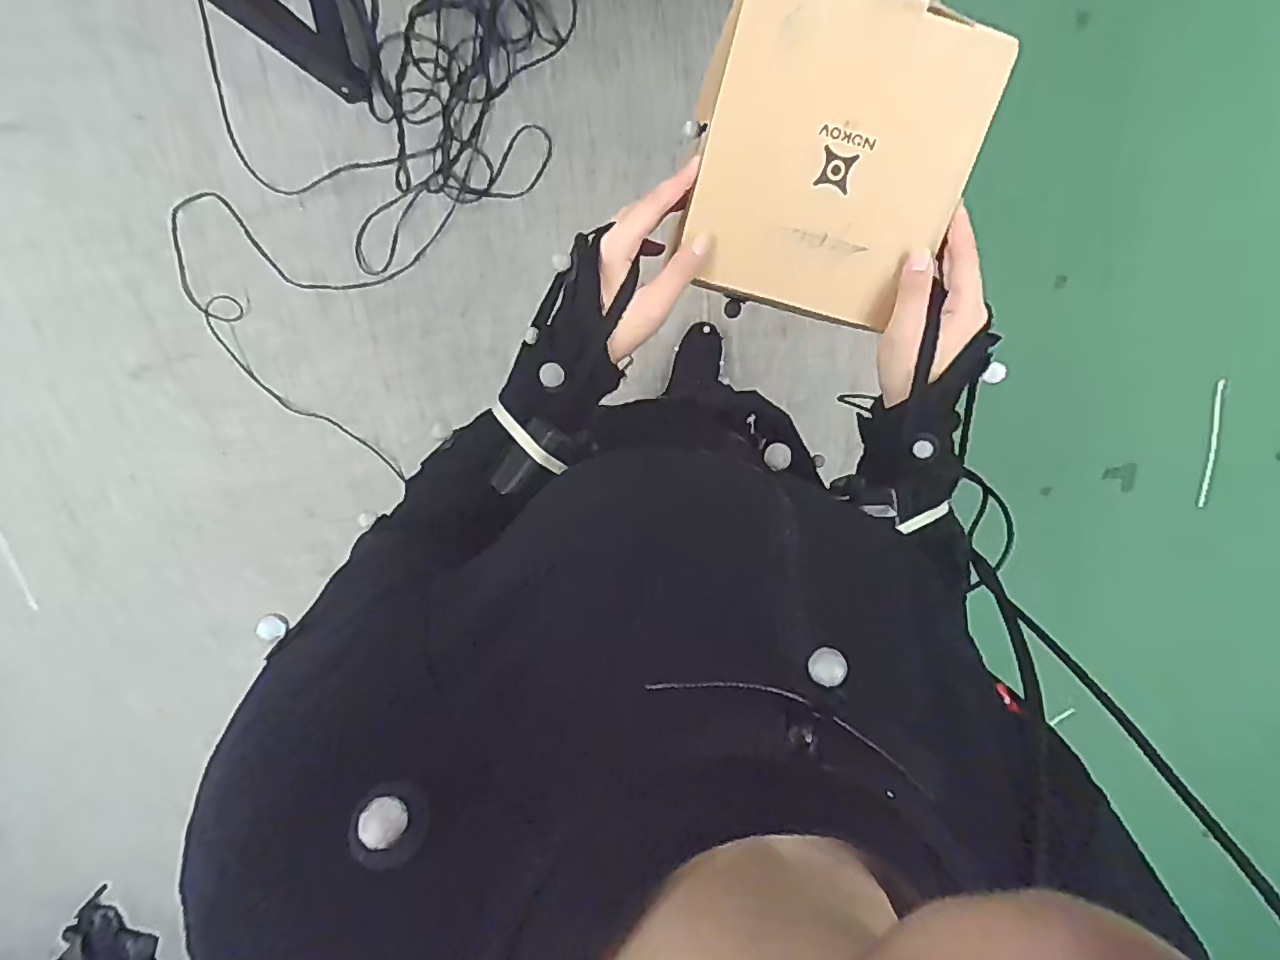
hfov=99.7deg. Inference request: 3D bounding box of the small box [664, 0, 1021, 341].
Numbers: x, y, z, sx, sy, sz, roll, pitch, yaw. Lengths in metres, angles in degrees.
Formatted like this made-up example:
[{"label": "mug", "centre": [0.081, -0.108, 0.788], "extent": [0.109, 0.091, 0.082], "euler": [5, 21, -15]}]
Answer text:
[{"label": "small box", "centre": [0.118, -0.217, 0.403], "extent": [0.168, 0.176, 0.179], "euler": [13, 109, -6]}]
